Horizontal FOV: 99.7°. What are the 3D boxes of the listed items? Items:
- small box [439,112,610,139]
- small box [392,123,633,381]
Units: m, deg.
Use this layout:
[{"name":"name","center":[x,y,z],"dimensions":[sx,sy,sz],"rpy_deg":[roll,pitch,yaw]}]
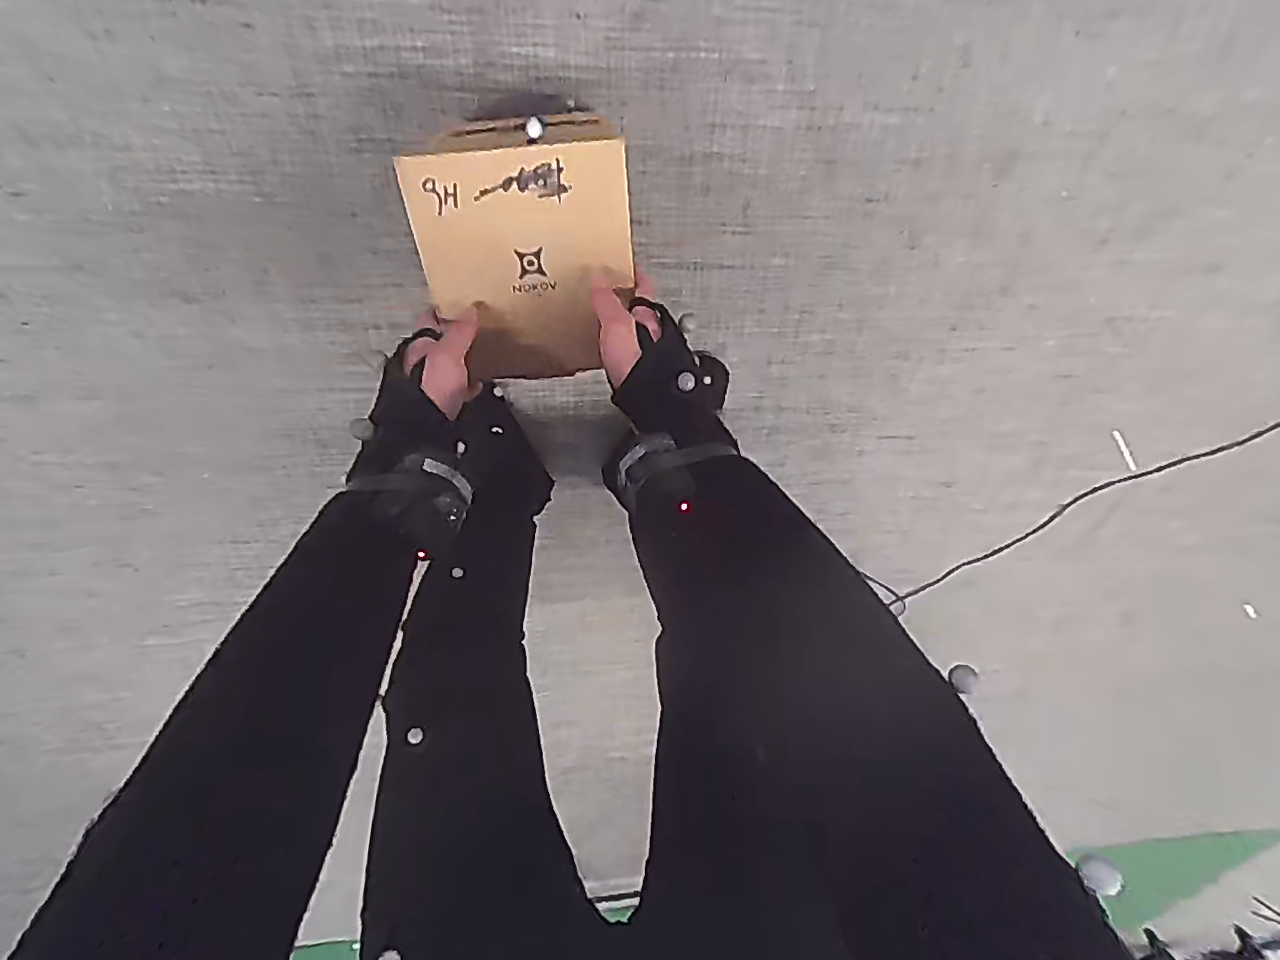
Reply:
[{"name":"small box","center":[-0.115,-0.315,0.625],"dimensions":[0.168,0.176,0.179],"rpy_deg":[-7,128,-2]},{"name":"small box","center":[-0.094,-0.212,0.496],"dimensions":[0.168,0.176,0.179],"rpy_deg":[-6,127,-1]}]
